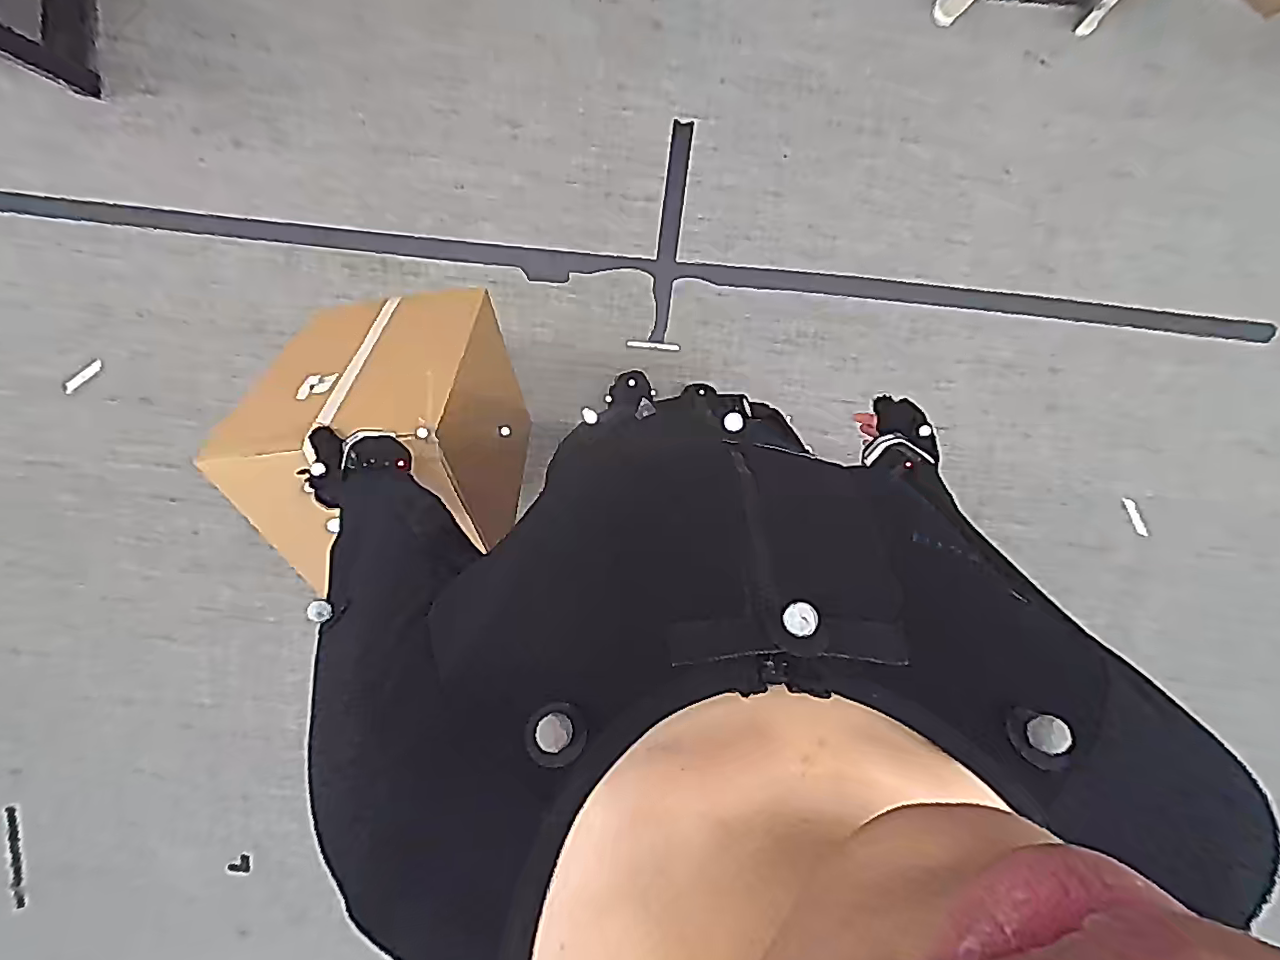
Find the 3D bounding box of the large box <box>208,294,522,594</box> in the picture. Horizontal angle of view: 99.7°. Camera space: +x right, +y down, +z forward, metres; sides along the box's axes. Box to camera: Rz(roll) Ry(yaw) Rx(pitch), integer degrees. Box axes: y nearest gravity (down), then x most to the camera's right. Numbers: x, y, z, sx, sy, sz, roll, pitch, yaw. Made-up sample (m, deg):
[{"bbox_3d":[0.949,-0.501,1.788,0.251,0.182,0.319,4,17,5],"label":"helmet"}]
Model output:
[{"bbox_3d":[-0.402,-0.068,0.929,0.320,0.408,0.320,-7,136,3],"label":"large box"}]
